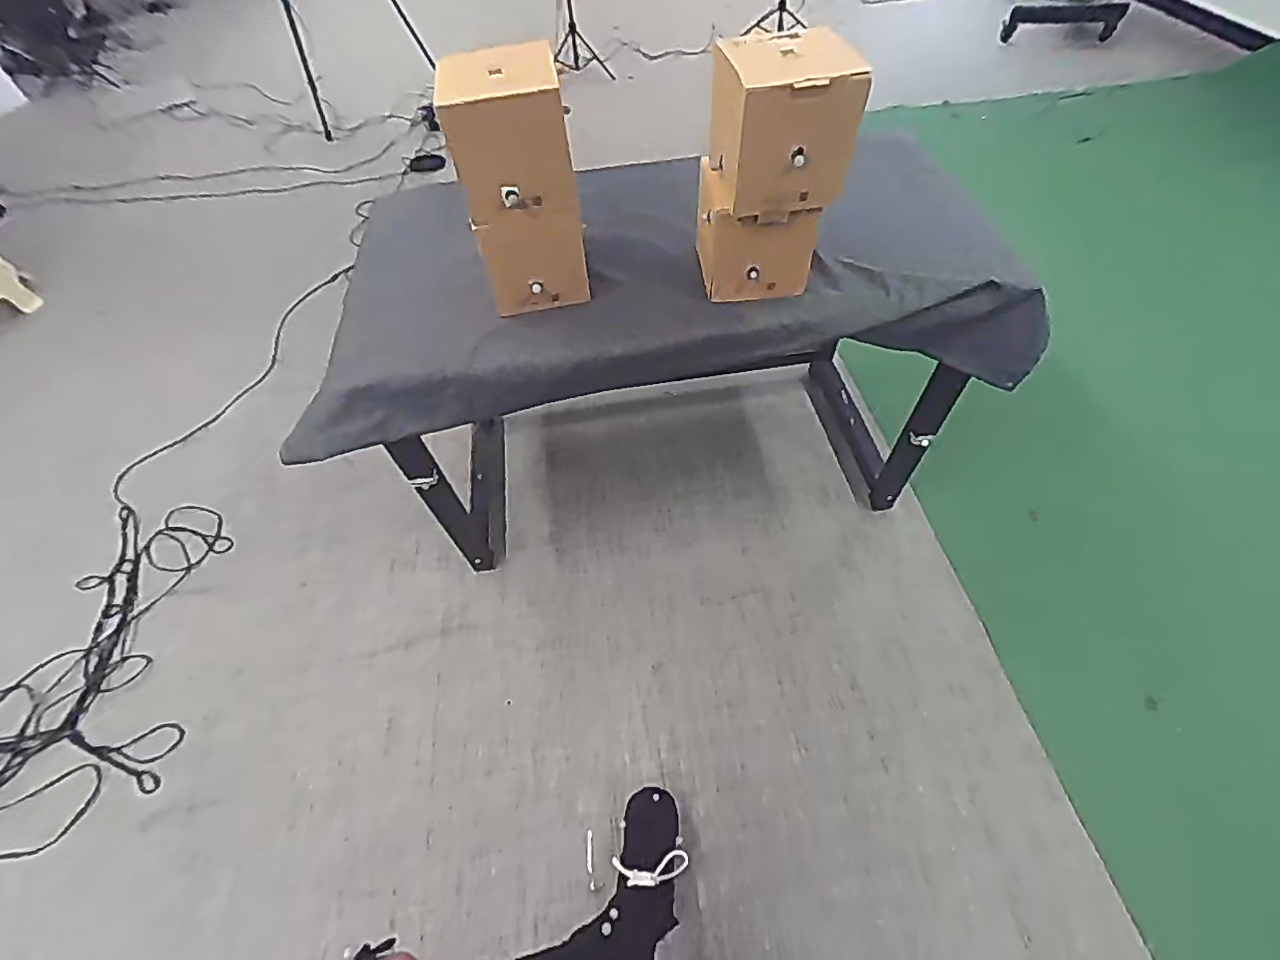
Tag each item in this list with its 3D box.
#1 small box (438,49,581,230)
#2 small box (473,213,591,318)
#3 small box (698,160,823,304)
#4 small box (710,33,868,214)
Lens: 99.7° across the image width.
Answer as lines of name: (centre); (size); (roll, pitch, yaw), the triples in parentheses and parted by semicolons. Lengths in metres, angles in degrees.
small box: (-0.189, -0.506, 0.810); (0.168, 0.176, 0.179); (-12, 56, -3)
small box: (-0.186, -0.412, 0.942); (0.168, 0.176, 0.179); (-11, 56, -4)
small box: (0.194, -0.429, 0.931); (0.168, 0.176, 0.179); (-5, 55, 0)
small box: (0.202, -0.509, 0.787); (0.168, 0.176, 0.179); (-9, 56, -2)
